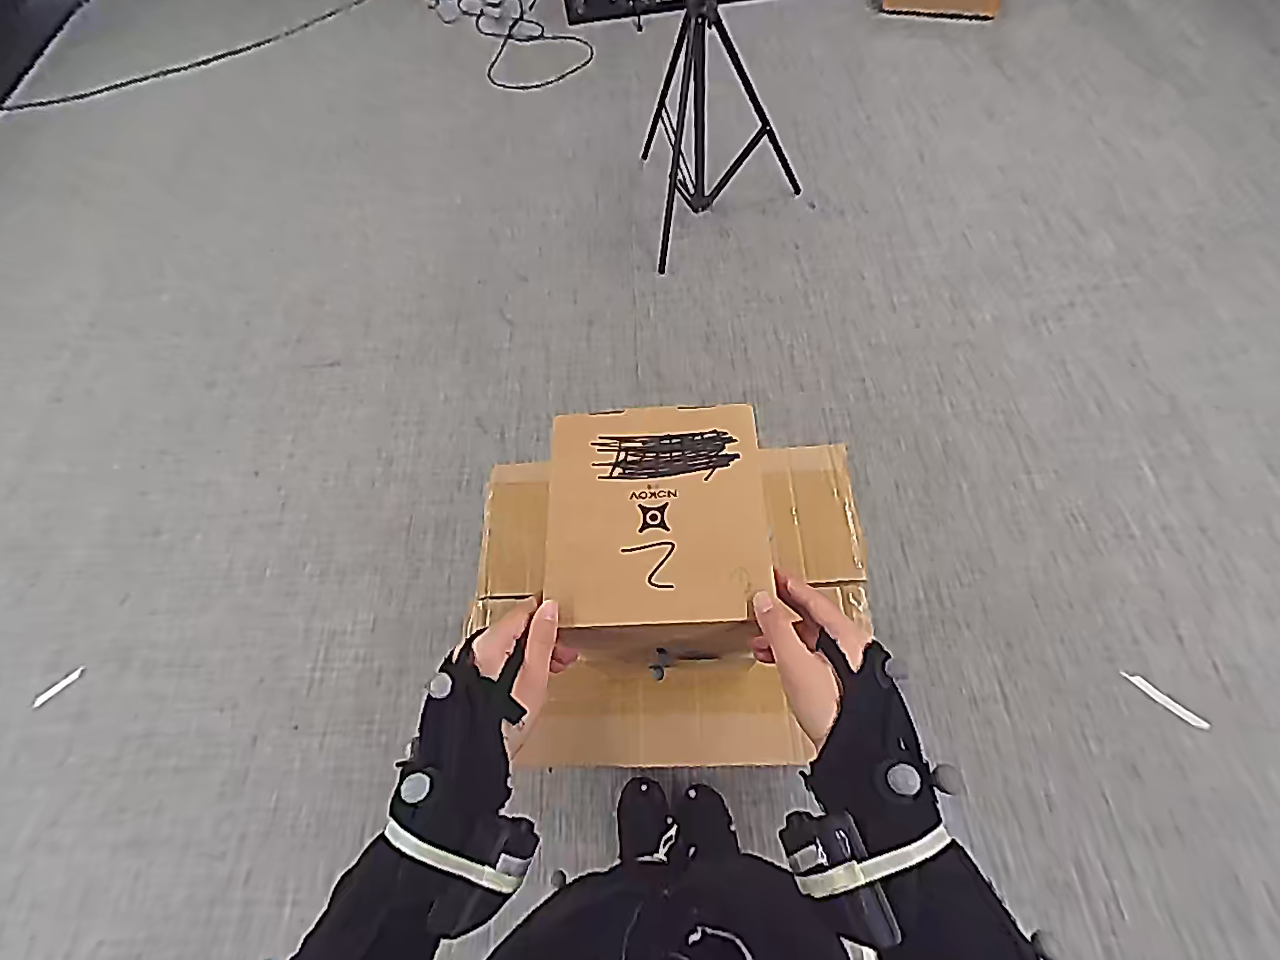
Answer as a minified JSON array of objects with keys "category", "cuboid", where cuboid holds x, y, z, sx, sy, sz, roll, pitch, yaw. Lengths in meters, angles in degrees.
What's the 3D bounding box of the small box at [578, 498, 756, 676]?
[{"category":"small box","cuboid":[0.033,0.131,0.624,0.179,0.176,0.168,-3,64,5]}]
